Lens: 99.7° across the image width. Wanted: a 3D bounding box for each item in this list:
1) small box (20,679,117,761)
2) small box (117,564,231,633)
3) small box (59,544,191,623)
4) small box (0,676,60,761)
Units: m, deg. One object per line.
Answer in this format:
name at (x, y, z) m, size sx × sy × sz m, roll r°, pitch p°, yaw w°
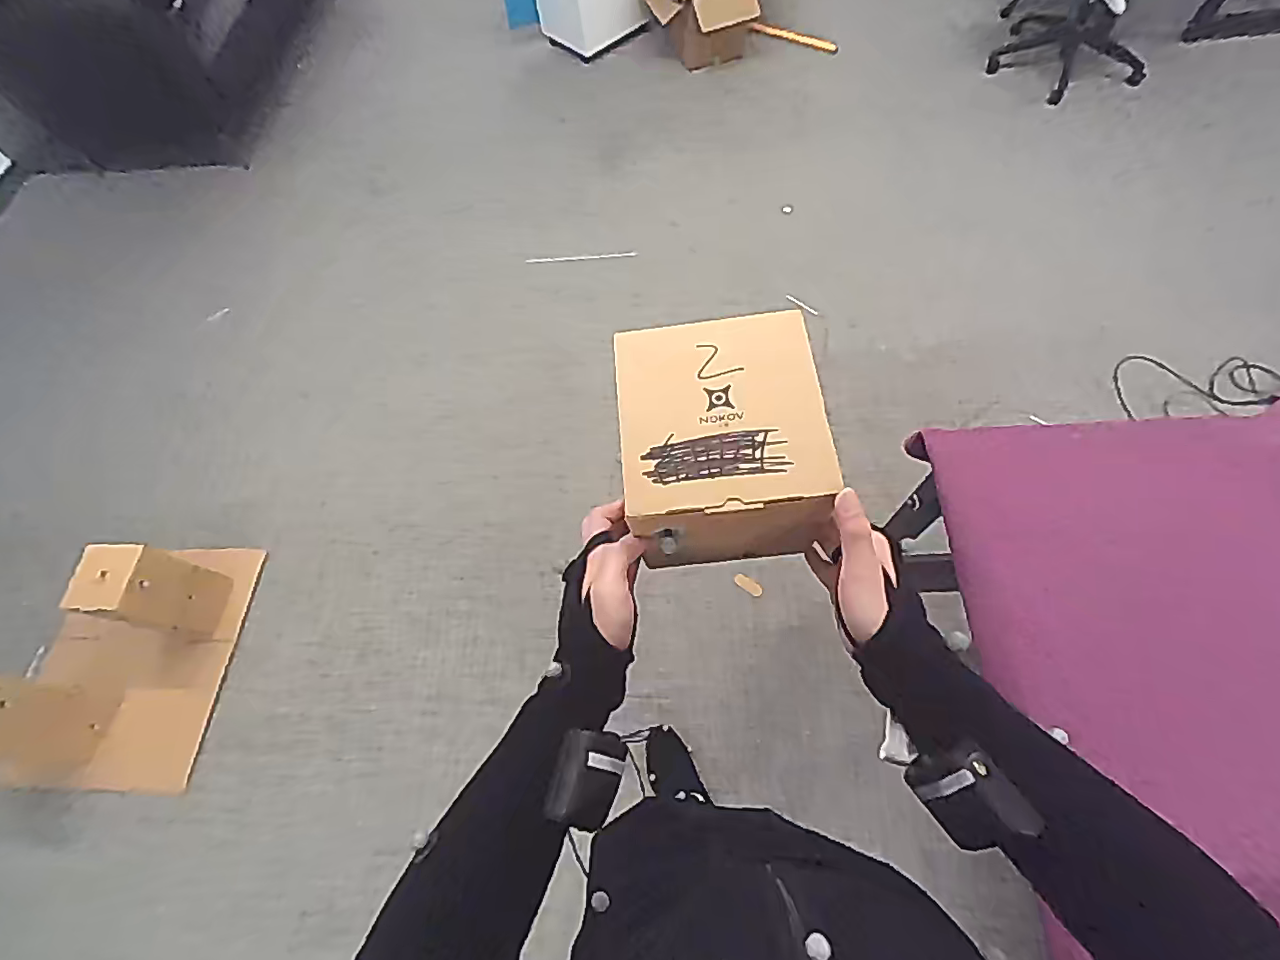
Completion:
small box at (-1.610, 0.660, 1.483) m, size 0.168 × 0.176 × 0.179 m, roll 7°, pitch 64°, yaw 9°
small box at (-1.379, 0.356, 1.616) m, size 0.168 × 0.176 × 0.179 m, roll 1°, pitch 64°, yaw 5°
small box at (-1.384, 0.285, 1.471) m, size 0.168 × 0.176 × 0.179 m, roll 0°, pitch 65°, yaw 4°
small box at (-1.617, 0.584, 1.335) m, size 0.168 × 0.176 × 0.179 m, roll 7°, pitch 65°, yaw 9°
